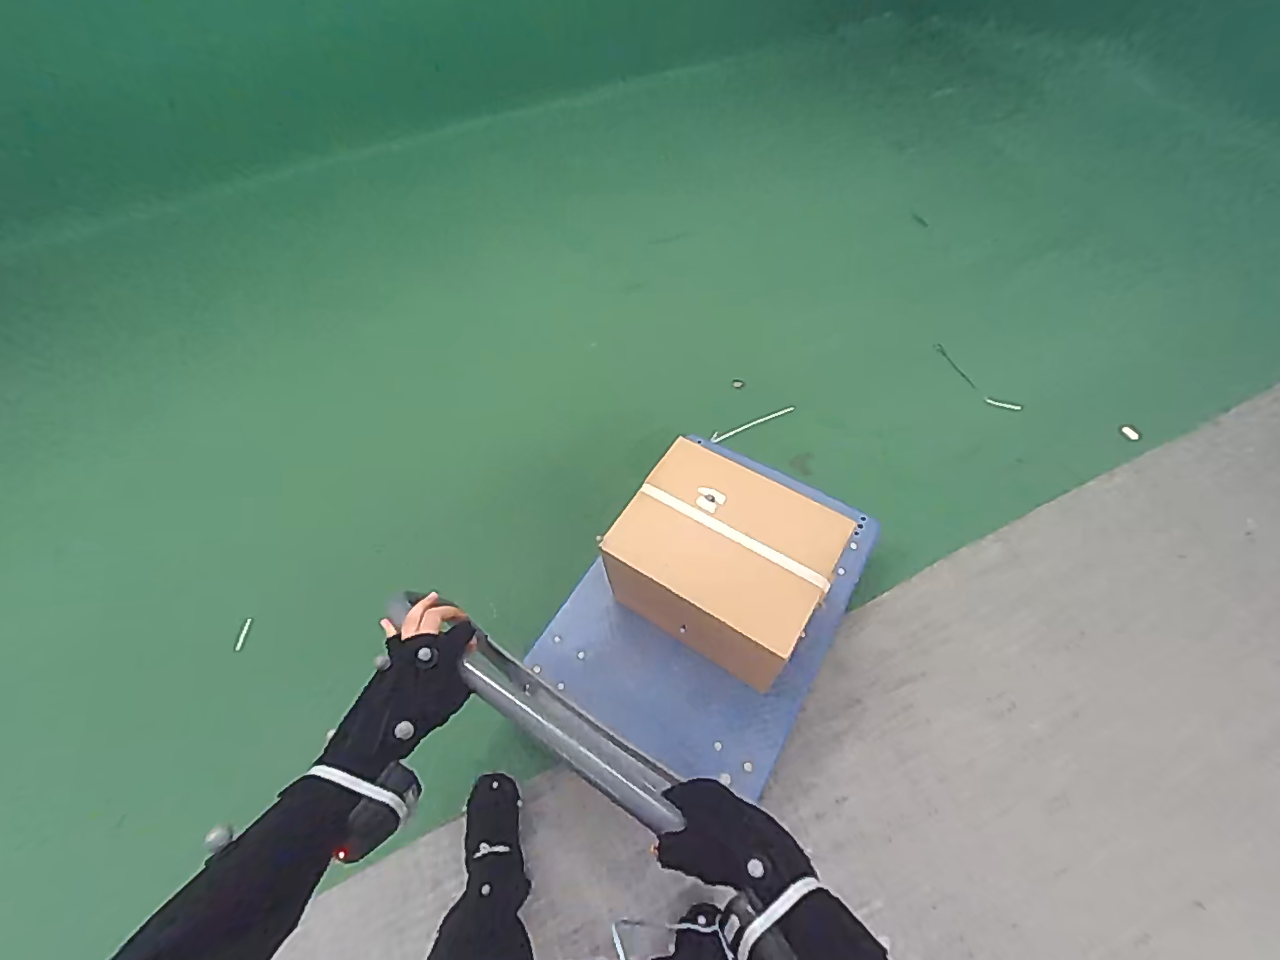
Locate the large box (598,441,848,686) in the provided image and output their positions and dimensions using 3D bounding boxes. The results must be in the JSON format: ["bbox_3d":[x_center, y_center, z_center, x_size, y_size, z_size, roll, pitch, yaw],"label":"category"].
[{"bbox_3d":[0.175,0.186,1.186,0.408,0.320,0.320,28,63,21],"label":"large box"}]
